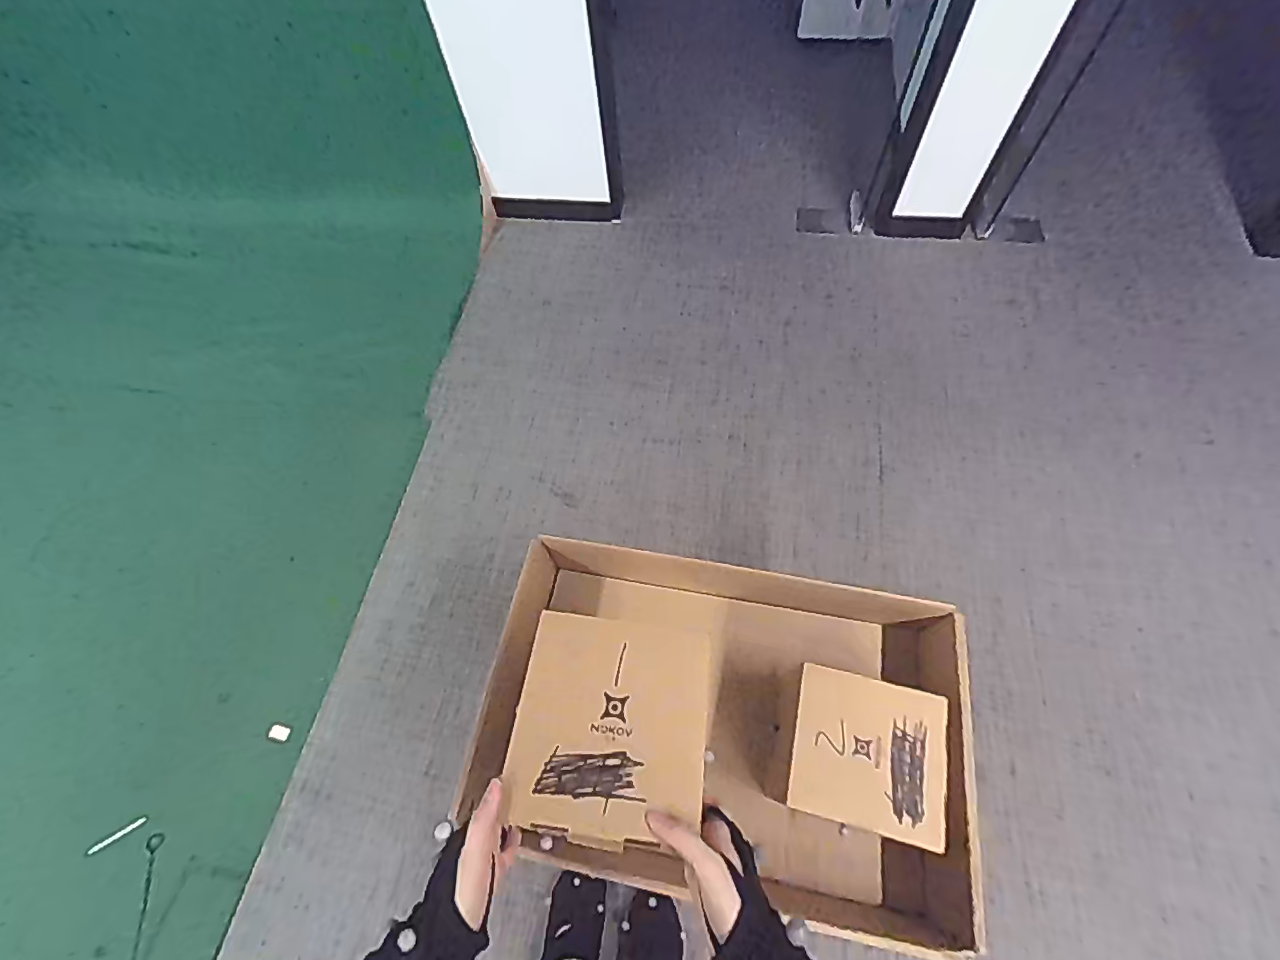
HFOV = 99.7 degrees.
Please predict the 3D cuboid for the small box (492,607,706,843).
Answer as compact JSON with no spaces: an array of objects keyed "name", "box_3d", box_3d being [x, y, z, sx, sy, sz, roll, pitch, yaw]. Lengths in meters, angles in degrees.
[{"name":"small box","box_3d":[-0.030,0.249,0.539,0.168,0.176,0.179,7,55,2]}]
